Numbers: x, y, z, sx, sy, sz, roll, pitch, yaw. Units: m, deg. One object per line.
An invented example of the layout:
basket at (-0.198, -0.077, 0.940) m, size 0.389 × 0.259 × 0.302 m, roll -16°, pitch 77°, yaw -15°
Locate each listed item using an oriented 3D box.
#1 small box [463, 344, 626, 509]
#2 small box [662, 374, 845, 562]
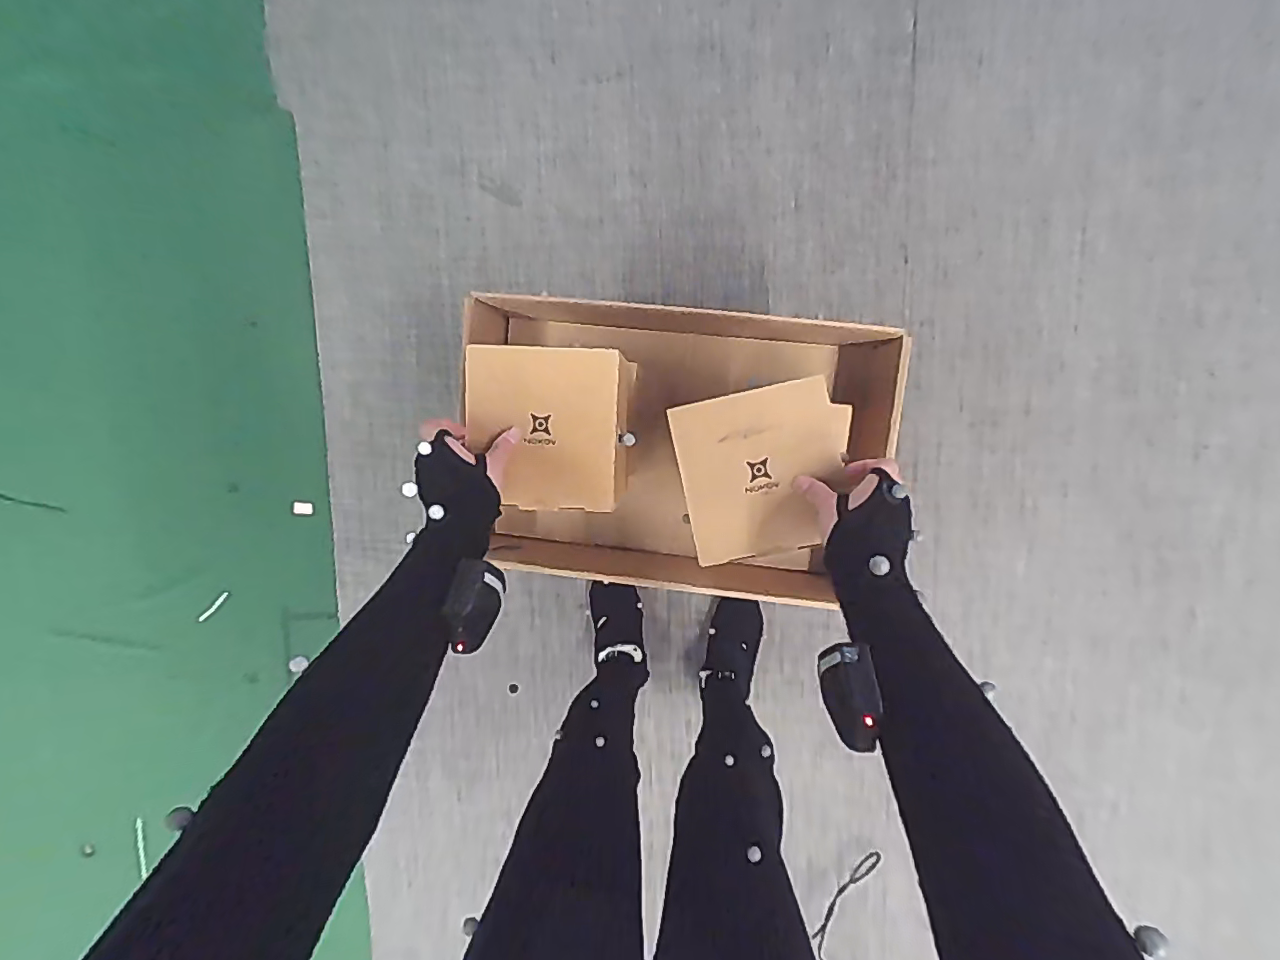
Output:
small box at (-0.107, -0.064, 0.667) m, size 0.168 × 0.176 × 0.179 m, roll 2°, pitch 96°, yaw 3°
small box at (0.131, -0.017, 0.643) m, size 0.168 × 0.176 × 0.179 m, roll -12°, pitch 93°, yaw 10°
